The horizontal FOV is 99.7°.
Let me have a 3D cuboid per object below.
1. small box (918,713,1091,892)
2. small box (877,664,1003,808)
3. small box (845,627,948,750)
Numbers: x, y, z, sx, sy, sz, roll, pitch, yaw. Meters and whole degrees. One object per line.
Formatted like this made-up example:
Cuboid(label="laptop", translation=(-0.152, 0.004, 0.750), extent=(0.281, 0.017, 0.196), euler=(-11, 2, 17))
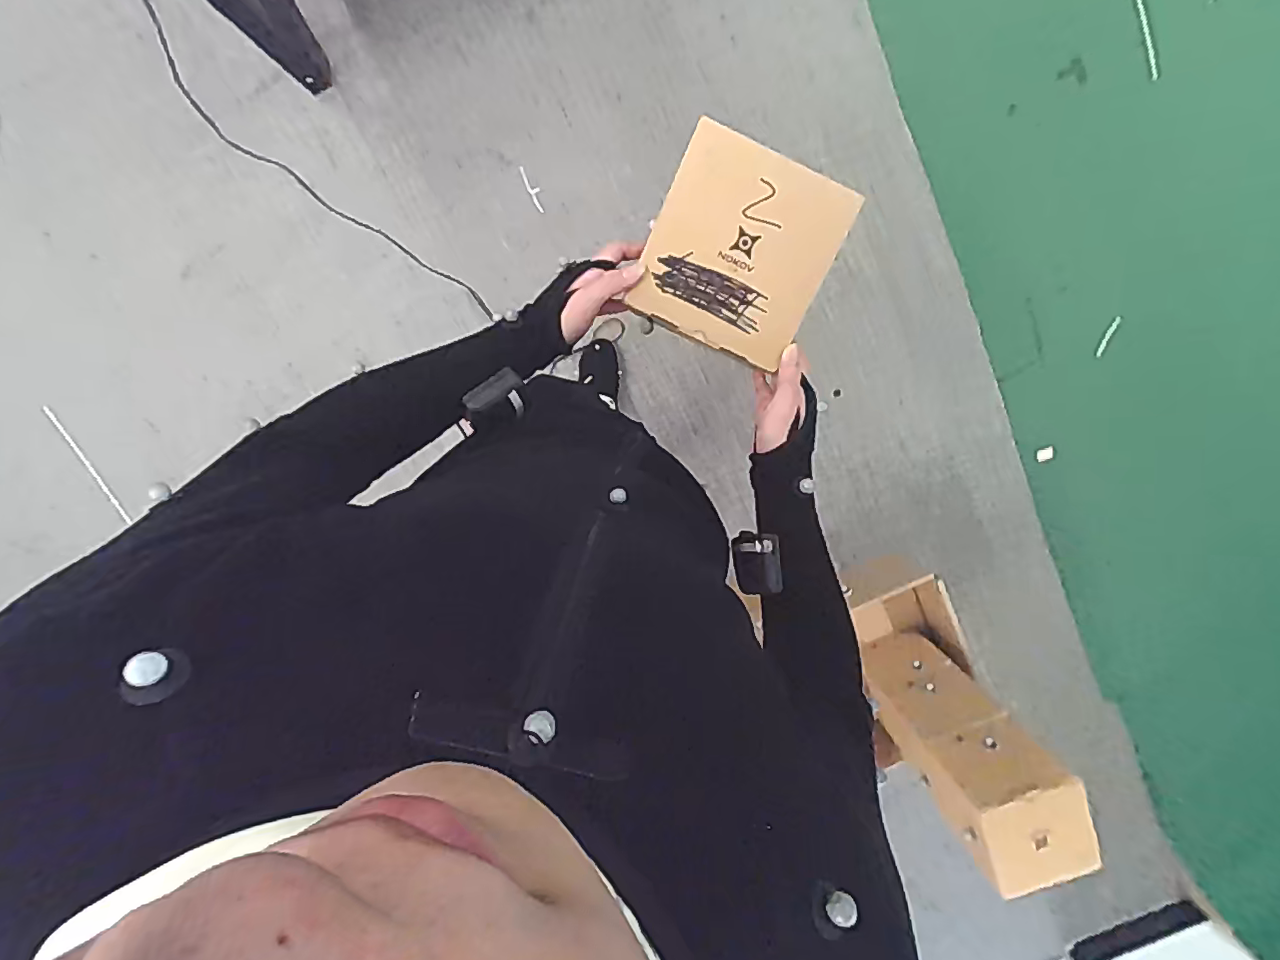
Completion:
Cuboid(label="small box", translation=(0.611, 0.540, 0.925), extent=(0.168, 0.176, 0.179), euler=(-20, 101, 2))
Cuboid(label="small box", translation=(0.608, 0.506, 1.084), extent=(0.168, 0.176, 0.179), euler=(-21, 101, 1))
Cuboid(label="small box", translation=(0.602, 0.473, 1.244), extent=(0.168, 0.176, 0.179), euler=(-23, 102, 3))
